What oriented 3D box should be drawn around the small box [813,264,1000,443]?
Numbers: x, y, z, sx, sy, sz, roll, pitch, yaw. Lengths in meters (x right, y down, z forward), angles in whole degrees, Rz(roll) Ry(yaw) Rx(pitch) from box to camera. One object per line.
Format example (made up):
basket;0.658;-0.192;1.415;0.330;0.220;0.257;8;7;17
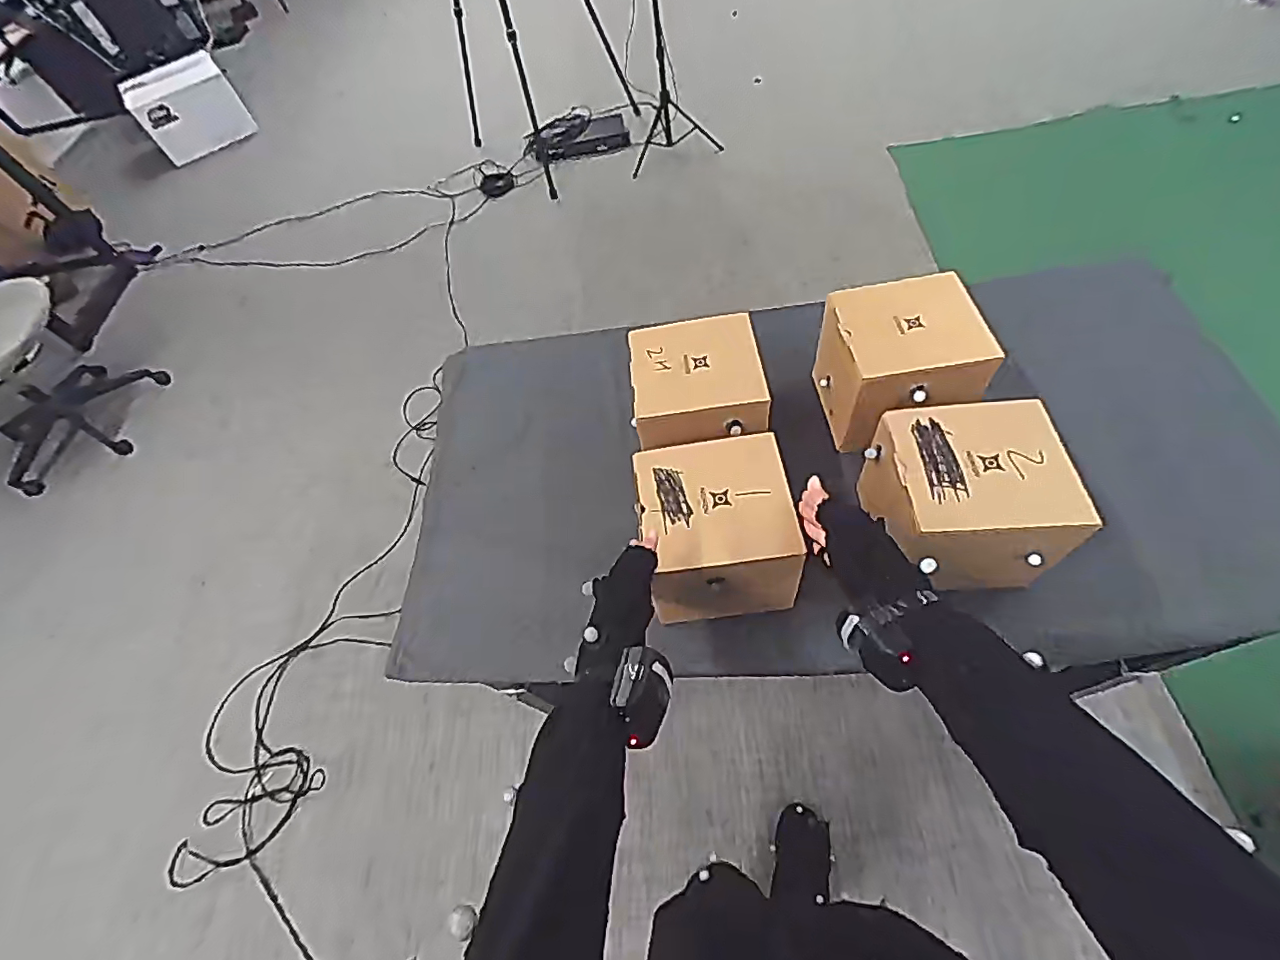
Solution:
small box;0.362;-0.173;0.774;0.179;0.176;0.168;-10;59;6
